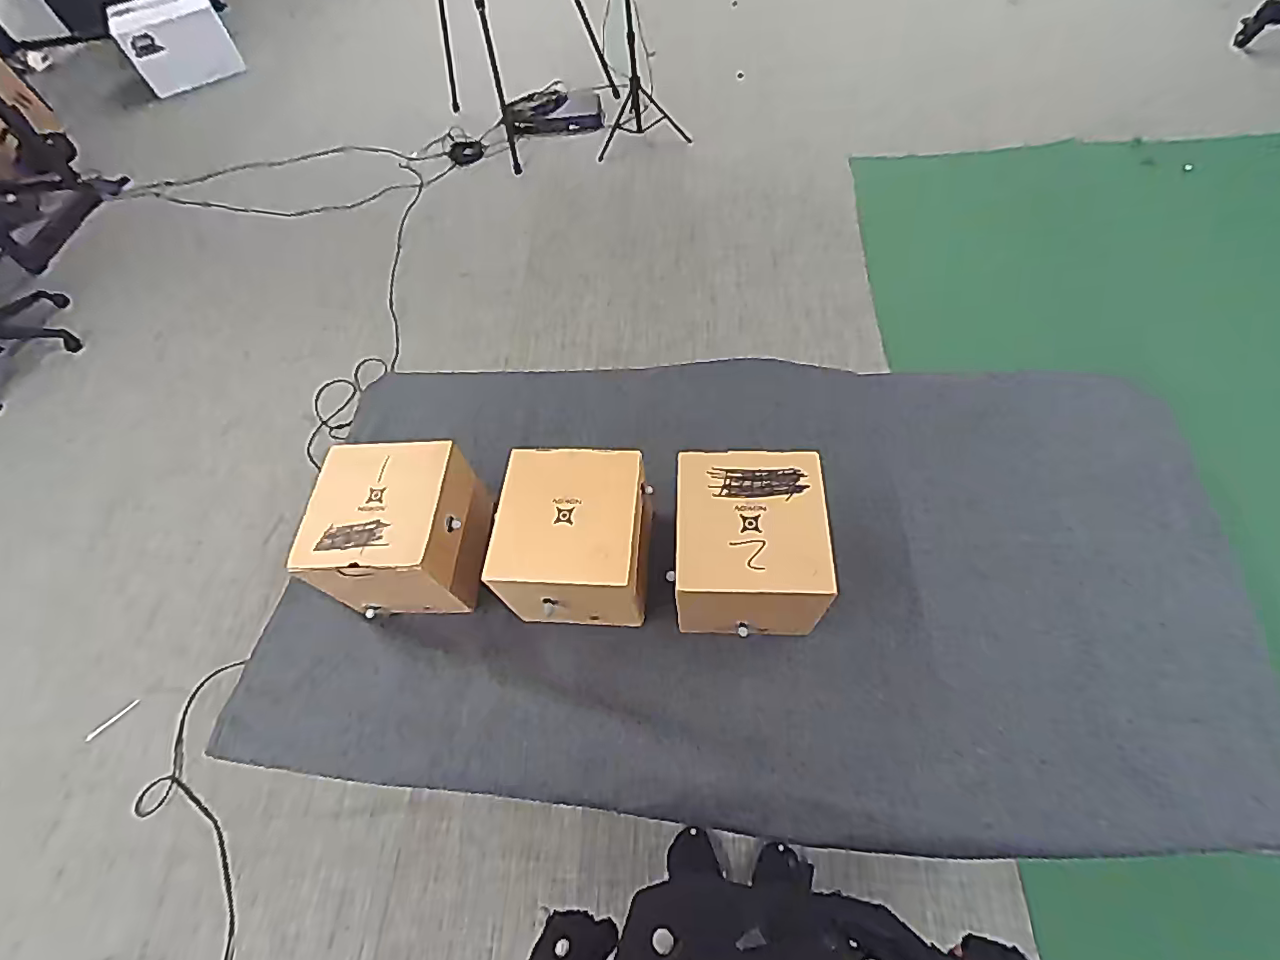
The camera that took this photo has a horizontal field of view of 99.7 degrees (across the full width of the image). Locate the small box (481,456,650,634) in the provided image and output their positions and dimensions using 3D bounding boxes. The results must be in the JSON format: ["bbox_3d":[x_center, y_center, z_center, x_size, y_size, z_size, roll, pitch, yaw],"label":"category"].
[{"bbox_3d":[-0.079,0.088,0.687,0.168,0.176,0.179,1,58,7],"label":"small box"}]

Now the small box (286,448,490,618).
[{"bbox_3d":[-0.313,0.078,0.717,0.168,0.176,0.179,-2,58,5],"label":"small box"}]
